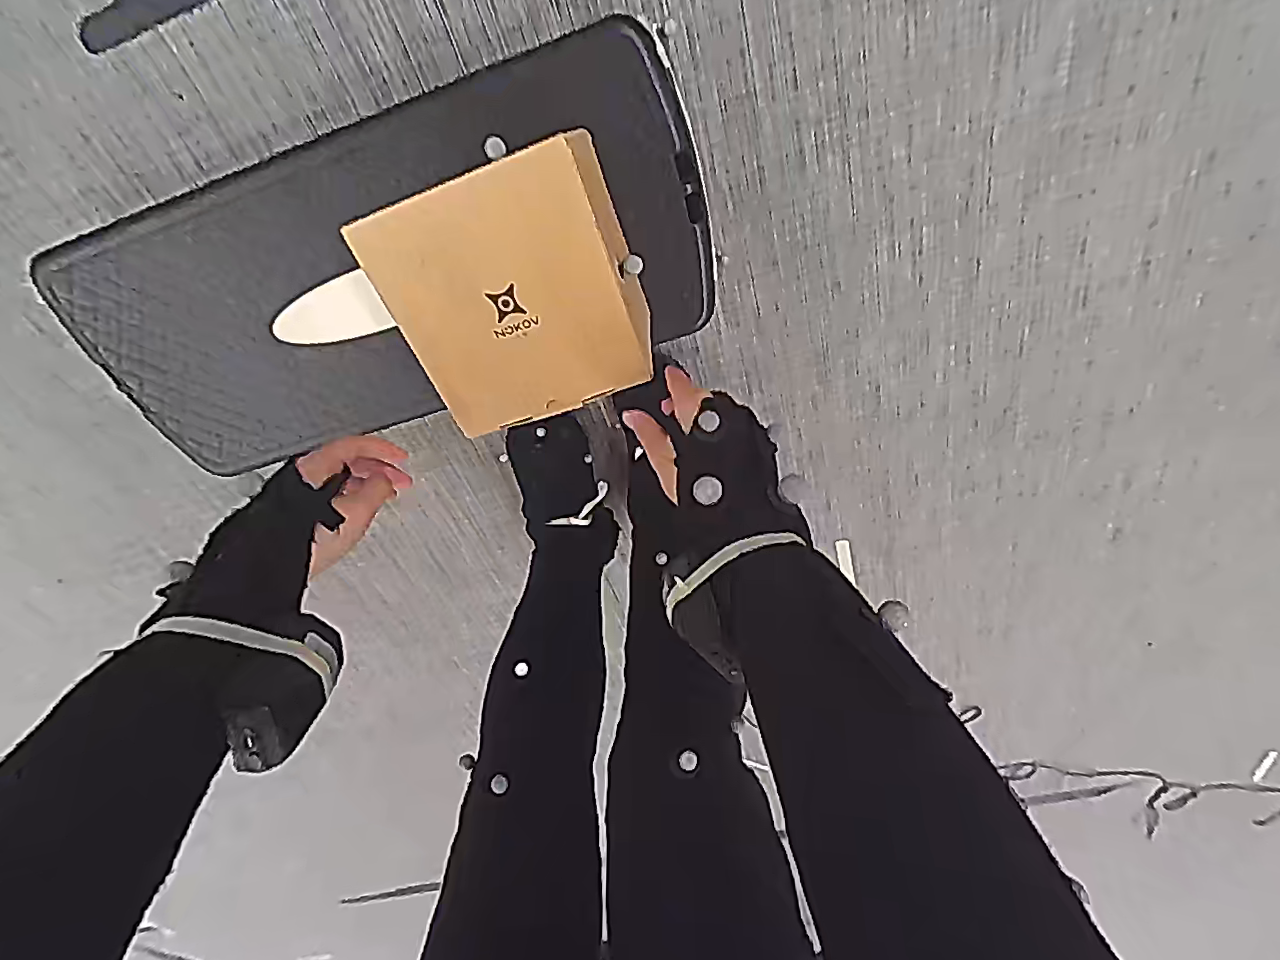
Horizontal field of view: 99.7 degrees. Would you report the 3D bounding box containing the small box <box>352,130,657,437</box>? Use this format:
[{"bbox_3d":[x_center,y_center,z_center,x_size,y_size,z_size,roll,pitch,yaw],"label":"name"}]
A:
[{"bbox_3d":[-0.092,-0.169,0.455,0.168,0.176,0.179,-16,124,9],"label":"small box"}]
